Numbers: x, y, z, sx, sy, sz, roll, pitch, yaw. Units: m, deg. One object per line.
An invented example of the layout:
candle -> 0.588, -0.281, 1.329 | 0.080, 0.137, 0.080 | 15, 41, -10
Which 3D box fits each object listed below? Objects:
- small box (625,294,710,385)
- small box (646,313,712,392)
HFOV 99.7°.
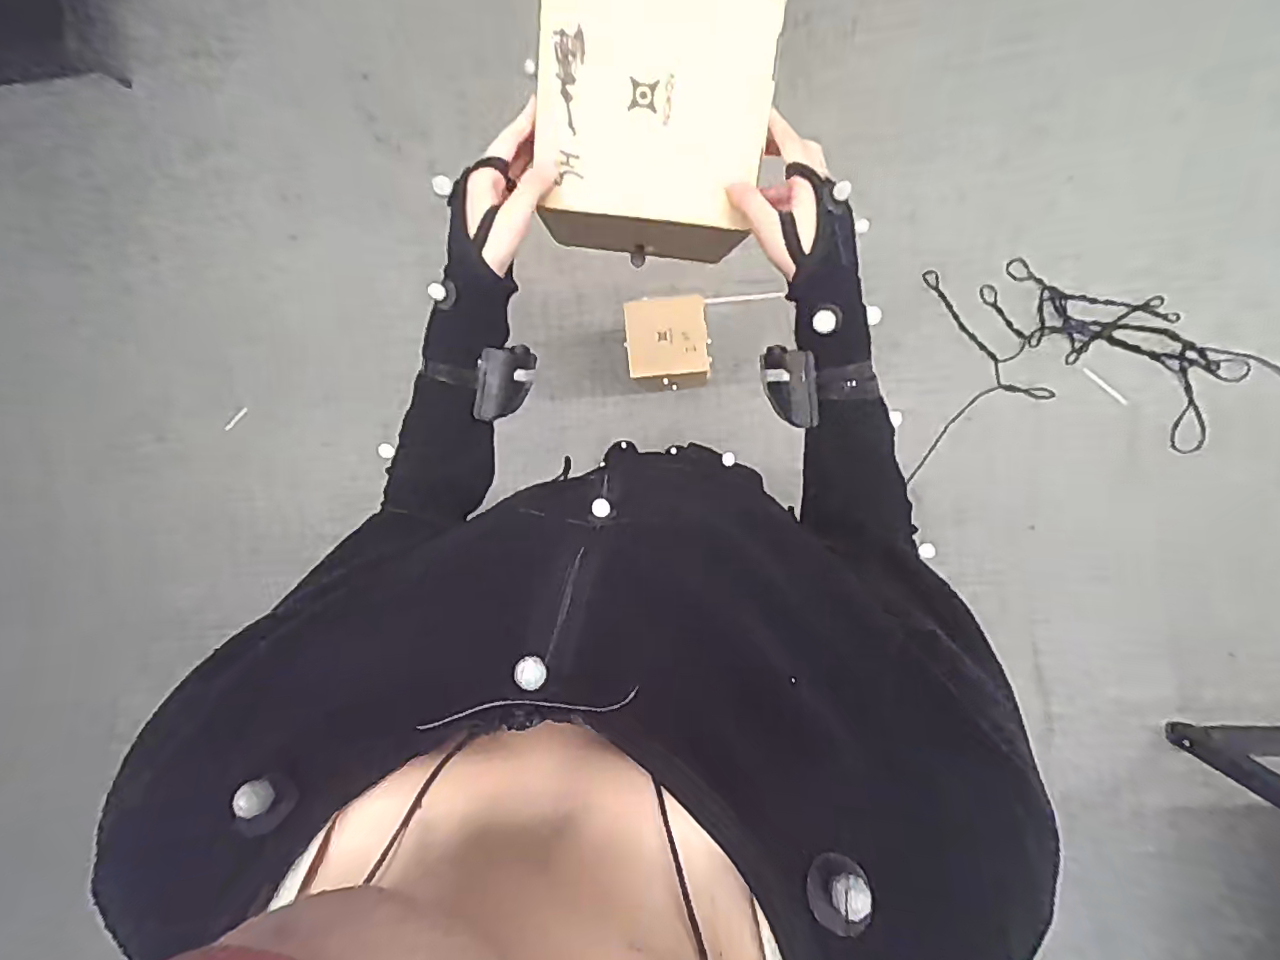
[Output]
small box -> 0.067, -0.313, 1.238 | 0.179, 0.176, 0.168 | -4, 94, 5
small box -> 0.092, -0.323, 1.401 | 0.179, 0.176, 0.168 | -5, 93, 5
